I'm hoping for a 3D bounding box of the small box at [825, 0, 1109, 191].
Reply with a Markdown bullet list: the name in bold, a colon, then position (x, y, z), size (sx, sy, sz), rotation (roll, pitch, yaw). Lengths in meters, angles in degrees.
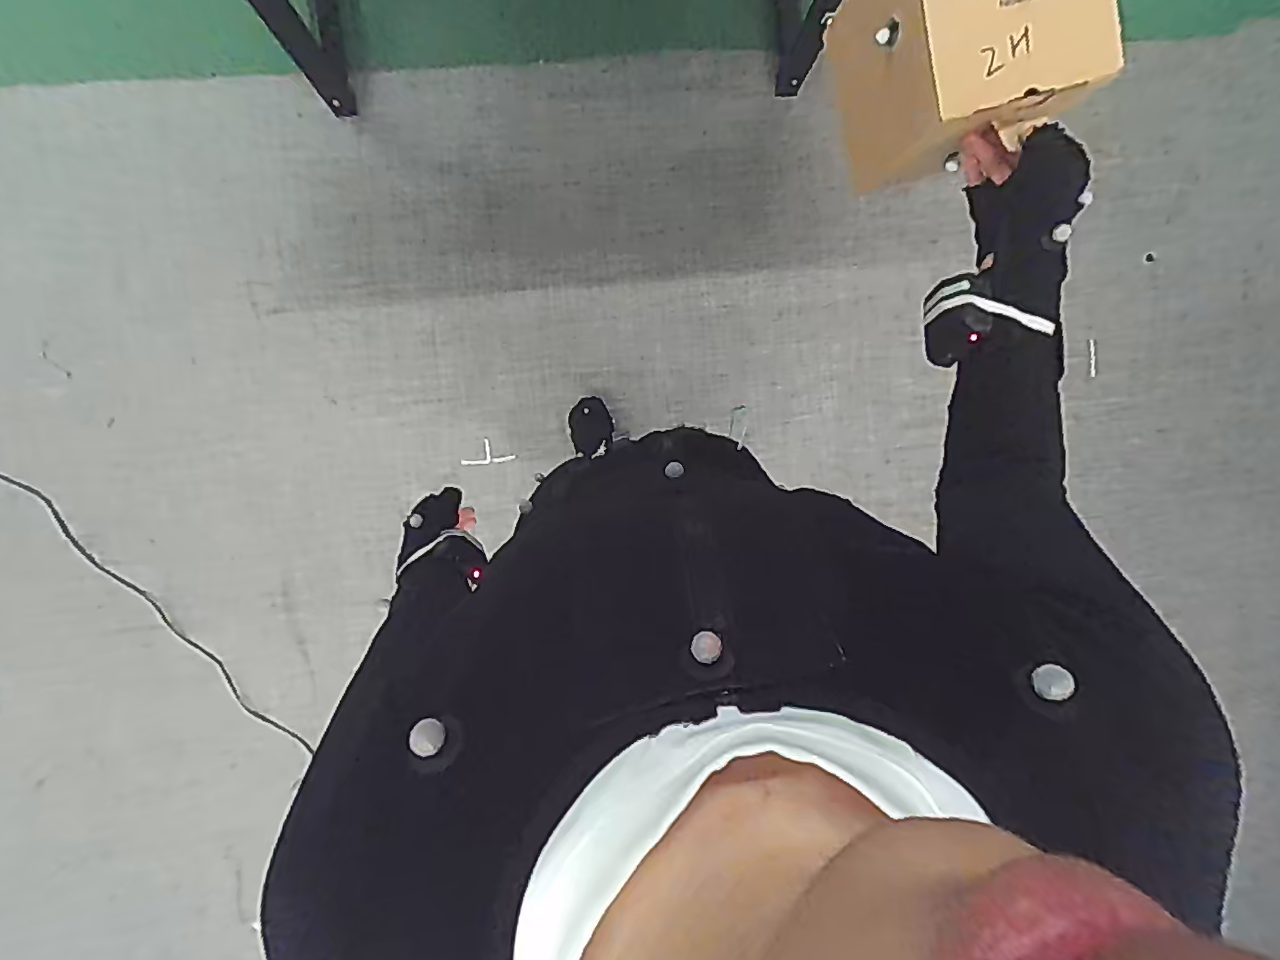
- **small box**: position (0.301, -0.420, 0.532), size (0.168, 0.176, 0.179), rotation (-15, 100, -1)
